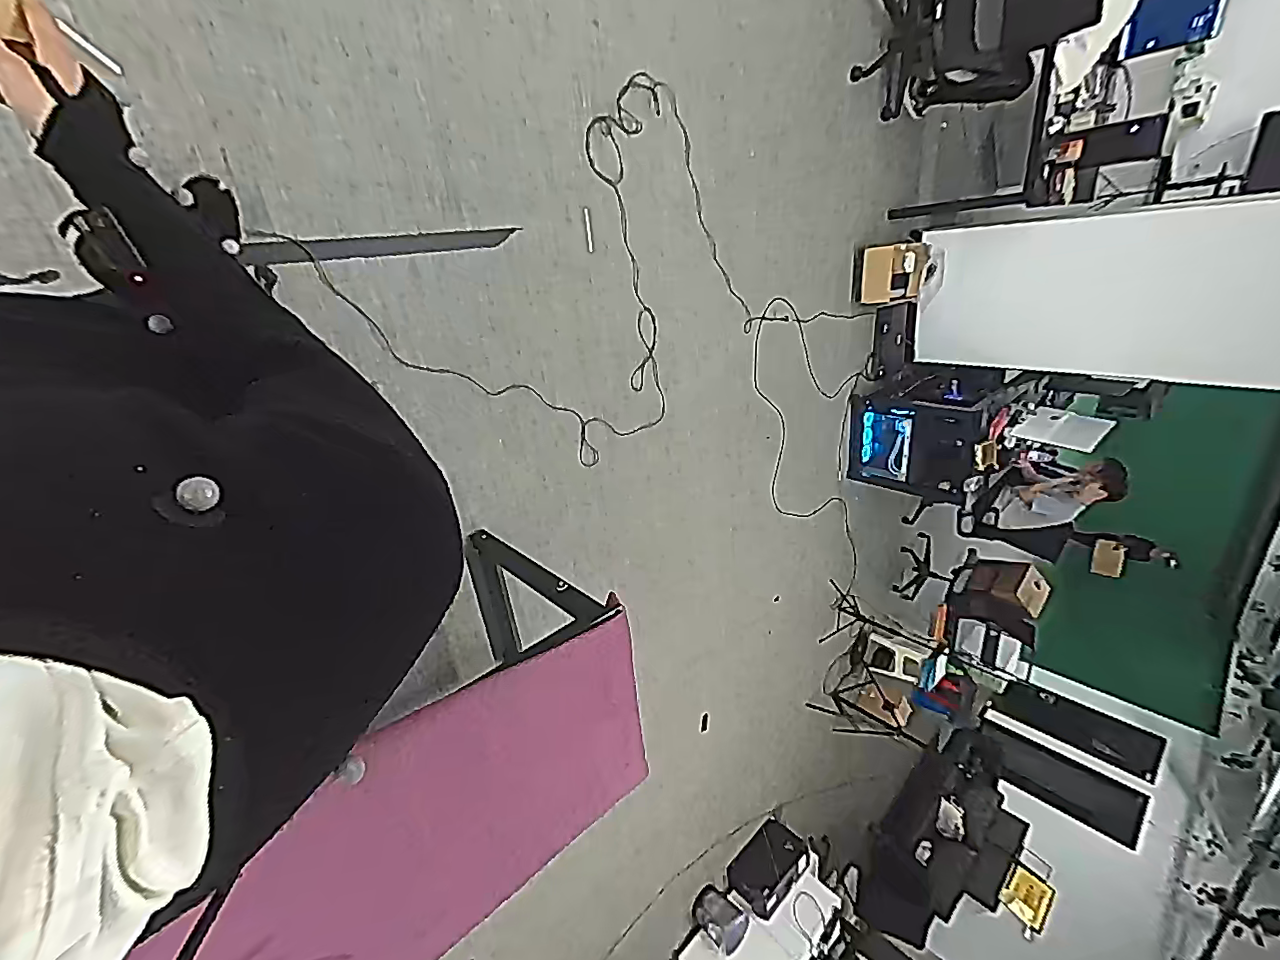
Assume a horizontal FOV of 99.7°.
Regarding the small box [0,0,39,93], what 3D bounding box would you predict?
[{"bbox_3d":[-0.606,-0.427,0.406,0.168,0.176,0.179,-23,117,-49],"label":"small box"}]
